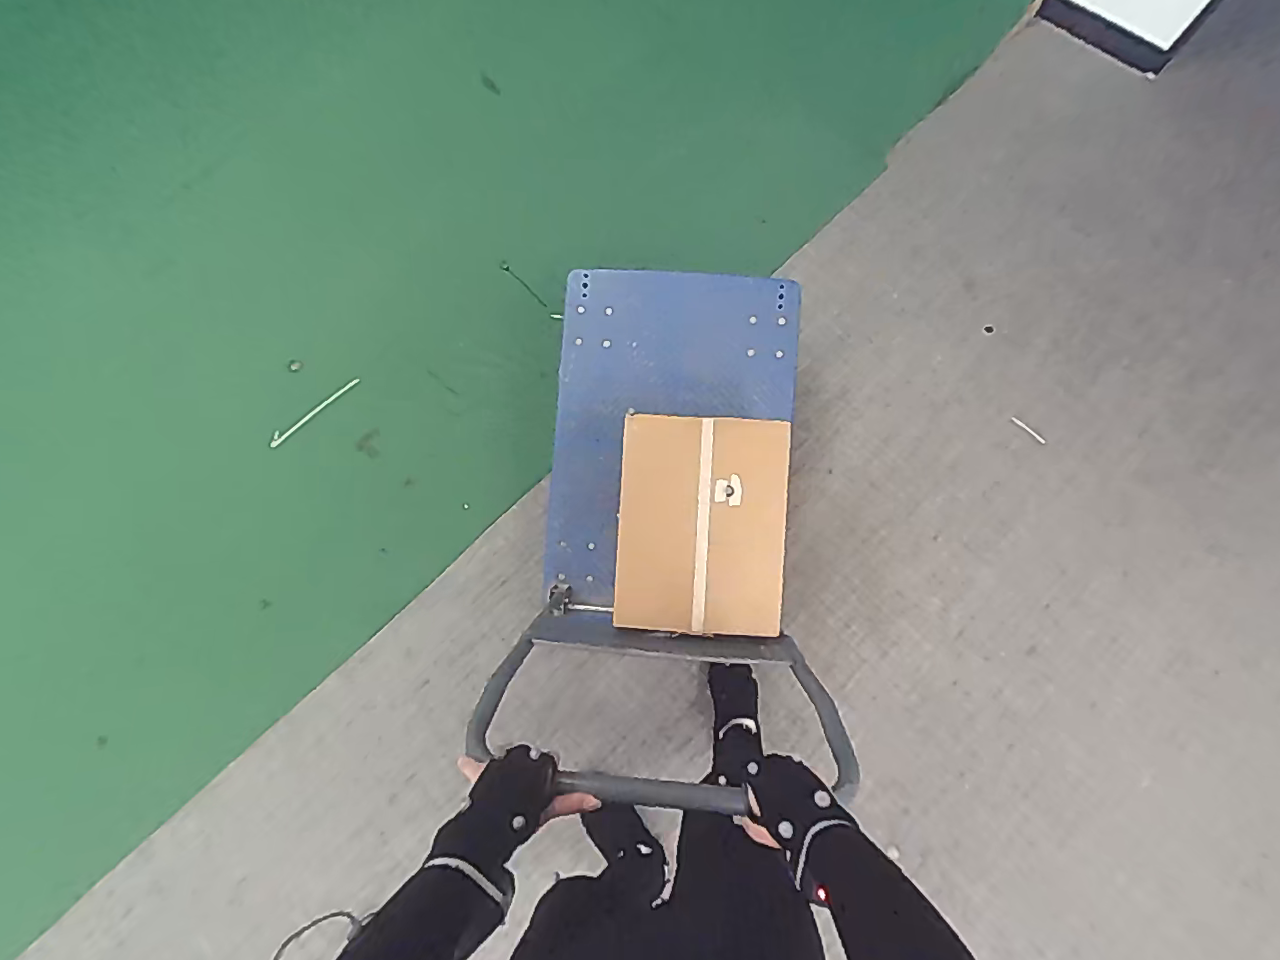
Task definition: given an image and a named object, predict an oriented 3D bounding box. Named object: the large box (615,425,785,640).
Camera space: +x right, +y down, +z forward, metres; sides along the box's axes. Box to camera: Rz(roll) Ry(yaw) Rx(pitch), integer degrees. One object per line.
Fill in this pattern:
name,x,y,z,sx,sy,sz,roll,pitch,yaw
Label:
large box,0.123,0.106,1.181,0.320,0.320,0.408,4,88,2
